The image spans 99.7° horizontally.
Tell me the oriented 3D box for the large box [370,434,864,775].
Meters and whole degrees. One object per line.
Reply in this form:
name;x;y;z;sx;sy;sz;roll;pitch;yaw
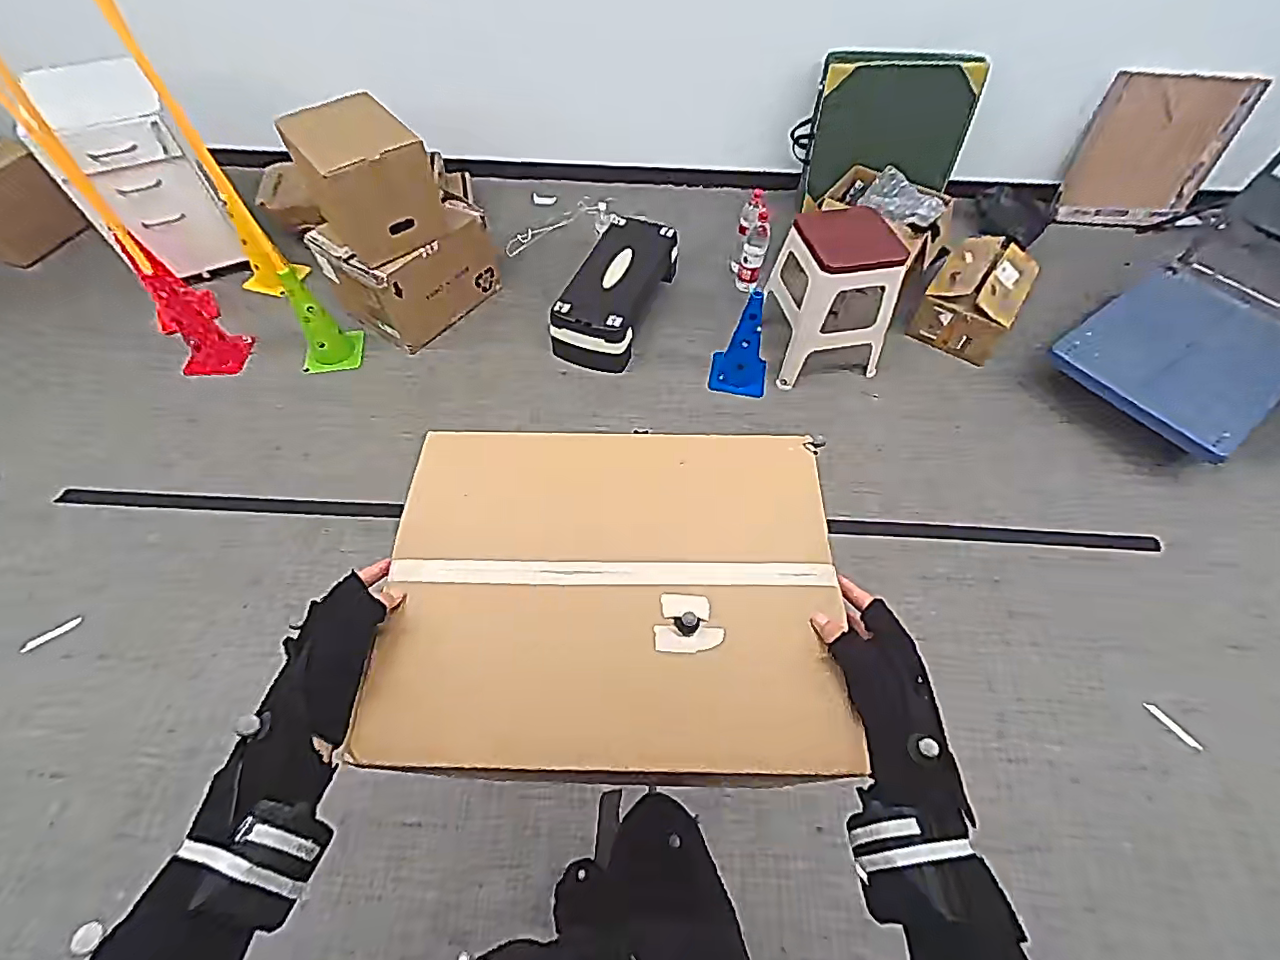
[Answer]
large box;-0.020;0.160;0.631;0.408;0.320;0.320;1;60;0
